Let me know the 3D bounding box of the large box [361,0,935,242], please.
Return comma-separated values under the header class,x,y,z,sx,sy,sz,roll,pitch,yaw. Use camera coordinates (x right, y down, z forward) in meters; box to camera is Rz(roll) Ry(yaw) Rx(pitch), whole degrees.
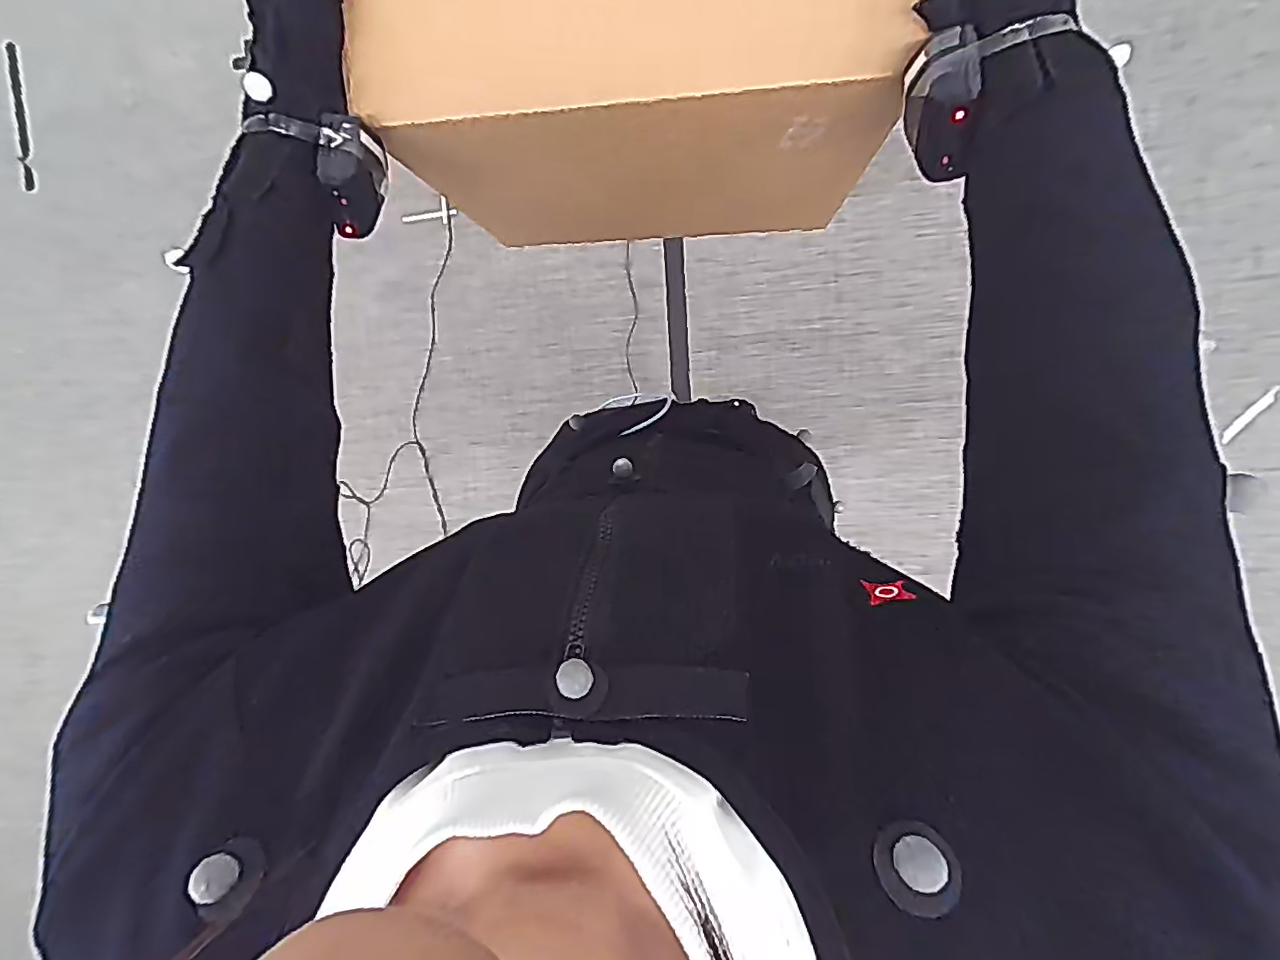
class,x,y,z,sx,sy,sz,roll,pitch,yaw
large box,0.006,-0.442,0.509,0.408,0.320,0.320,-1,98,6
